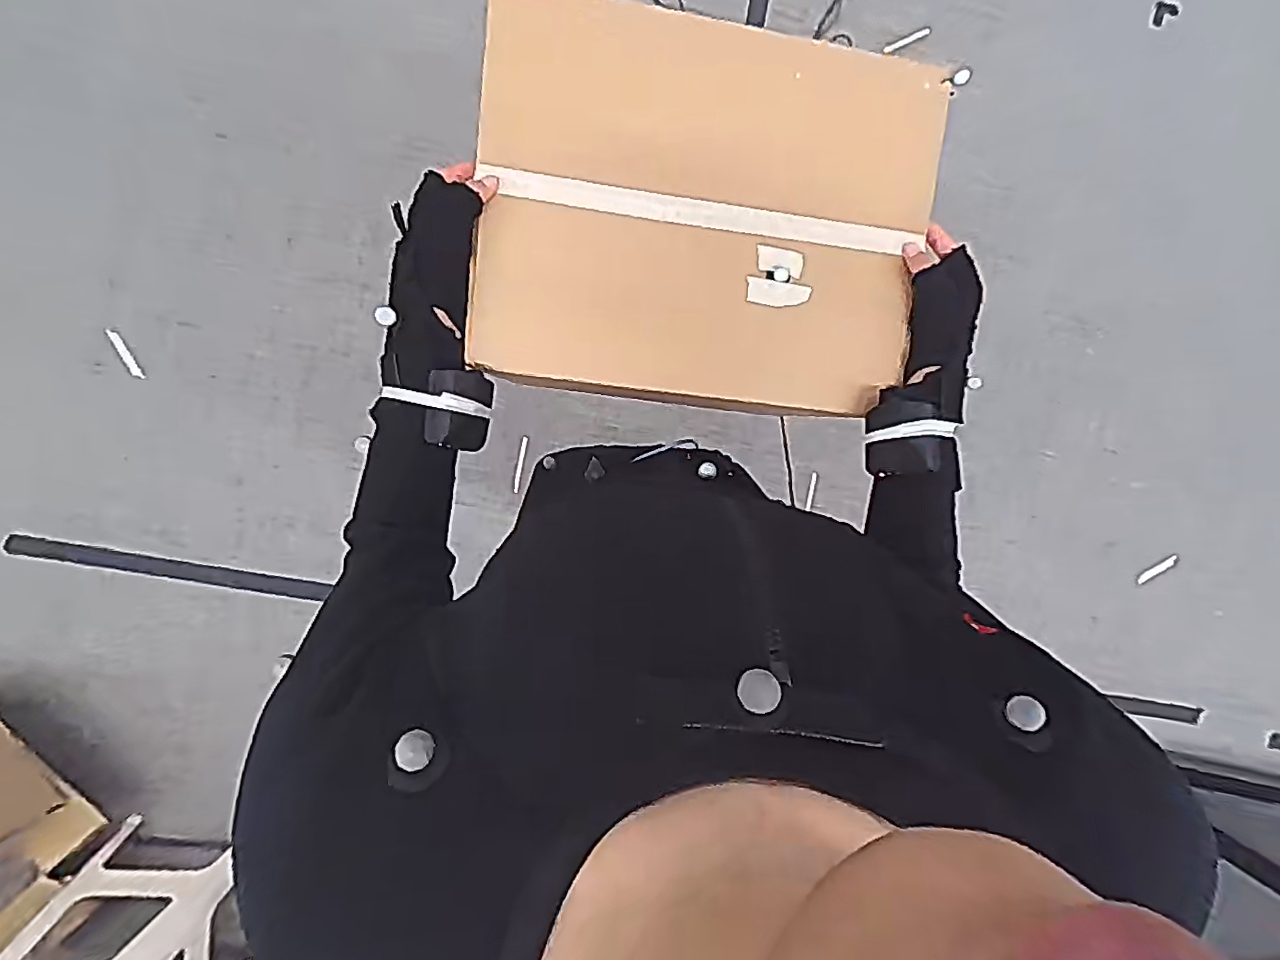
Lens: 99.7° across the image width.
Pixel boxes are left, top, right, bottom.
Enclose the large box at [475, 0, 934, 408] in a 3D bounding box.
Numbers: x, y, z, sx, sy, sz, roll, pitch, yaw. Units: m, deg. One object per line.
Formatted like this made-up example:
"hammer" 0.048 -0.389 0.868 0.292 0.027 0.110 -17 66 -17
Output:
"large box" 0.041 -0.258 0.635 0.408 0.320 0.320 6 98 -9
